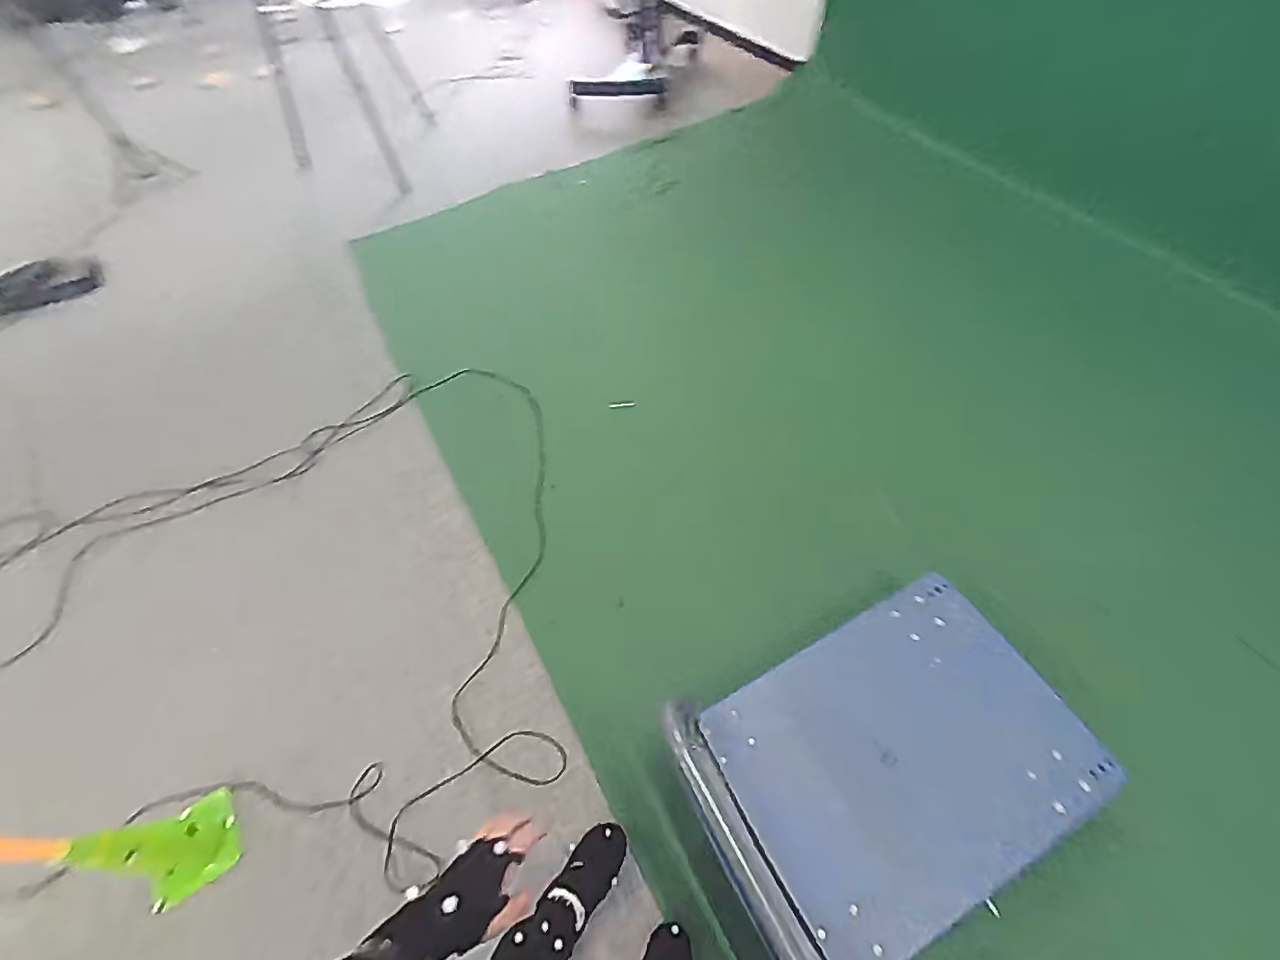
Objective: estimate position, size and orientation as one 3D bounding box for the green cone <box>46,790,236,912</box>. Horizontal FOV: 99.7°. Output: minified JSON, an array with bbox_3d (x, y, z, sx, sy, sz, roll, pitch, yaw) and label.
[{"bbox_3d":[-1.145,0.833,1.224,0.200,0.368,0.202,-31,58,-15],"label":"green cone"}]
